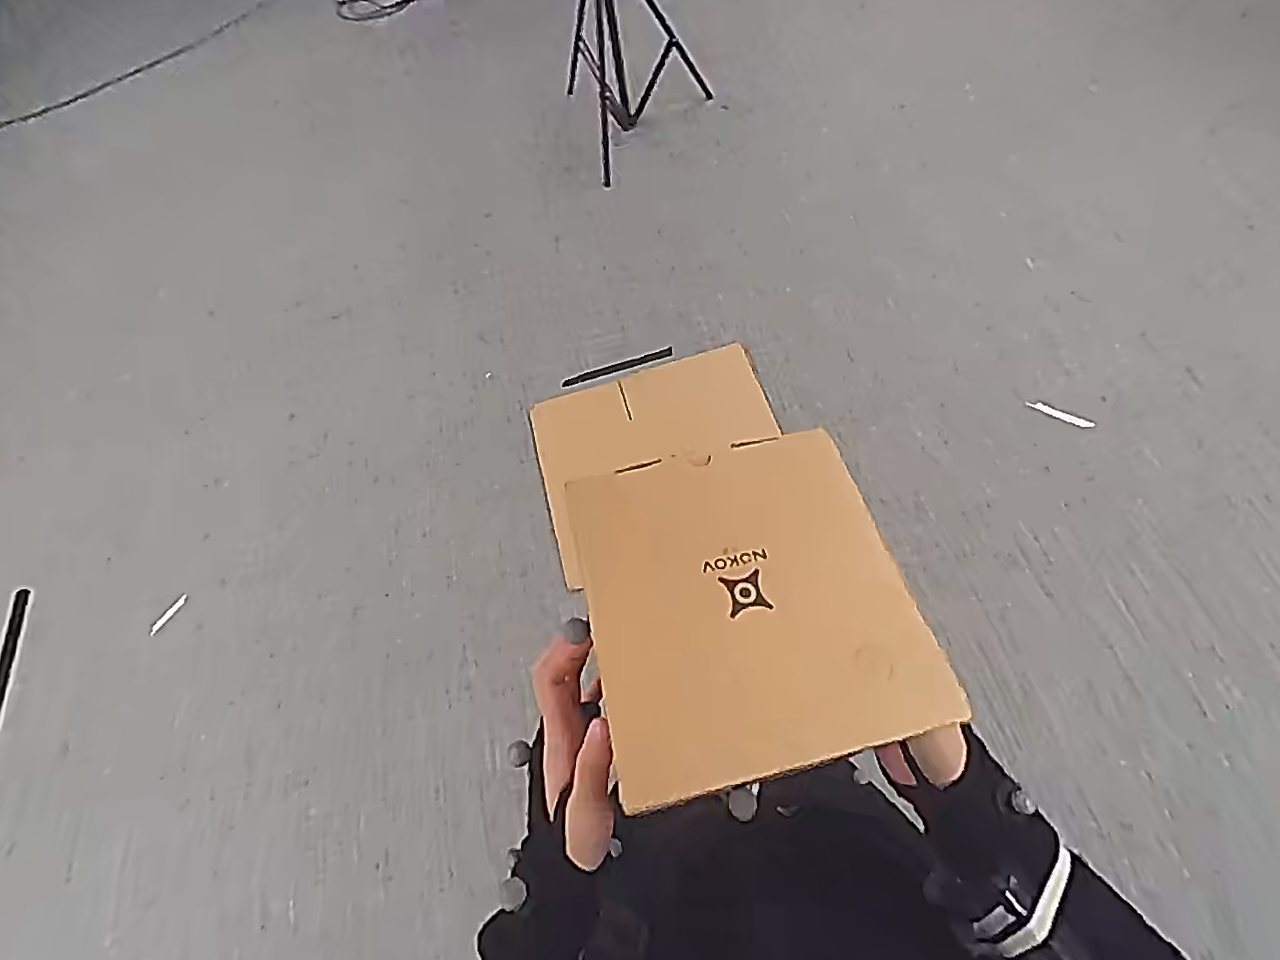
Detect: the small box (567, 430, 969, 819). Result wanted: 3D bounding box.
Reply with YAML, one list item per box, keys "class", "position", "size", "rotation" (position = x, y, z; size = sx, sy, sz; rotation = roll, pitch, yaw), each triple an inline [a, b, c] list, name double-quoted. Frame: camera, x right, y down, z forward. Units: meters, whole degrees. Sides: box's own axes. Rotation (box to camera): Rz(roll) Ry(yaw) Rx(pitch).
- class: "small box"
  position: [0.057, 0.099, 0.348]
  size: [0.168, 0.176, 0.179]
  rotation: [-12, 58, -5]
